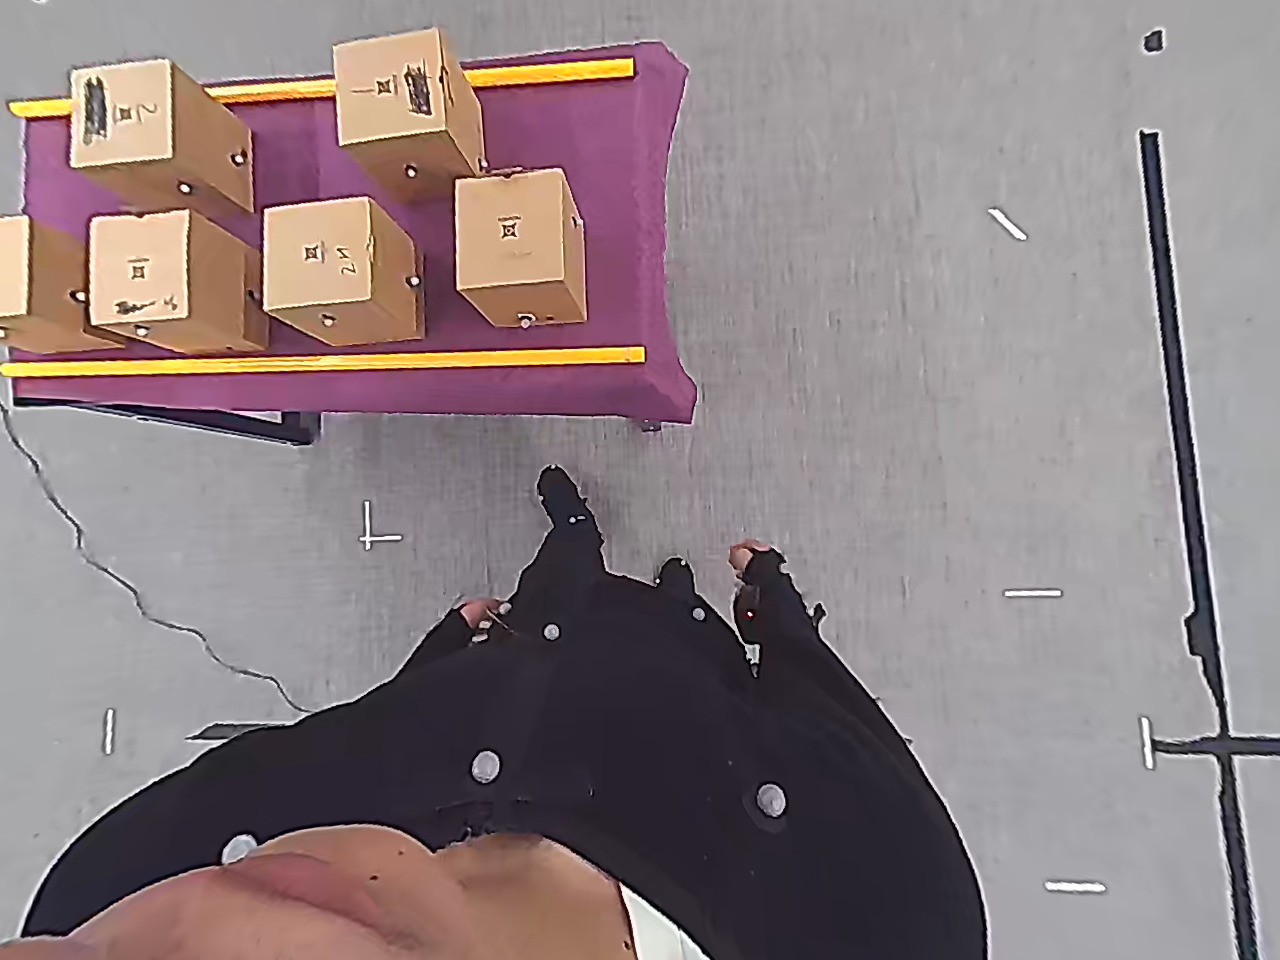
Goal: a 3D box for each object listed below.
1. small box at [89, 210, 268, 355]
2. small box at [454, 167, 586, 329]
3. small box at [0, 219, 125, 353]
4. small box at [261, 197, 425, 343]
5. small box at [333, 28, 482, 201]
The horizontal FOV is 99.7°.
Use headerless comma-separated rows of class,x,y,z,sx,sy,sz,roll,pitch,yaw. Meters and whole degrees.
small box,-0.766,-0.325,0.917,0.168,0.176,0.179,-2,86,6
small box,-0.185,-0.362,0.869,0.168,0.176,0.179,-3,84,6
small box,-1.045,-0.328,0.941,0.179,0.176,0.168,-3,86,4
small box,-0.481,-0.334,0.893,0.179,0.176,0.168,-3,85,5
small box,-0.374,-0.594,0.901,0.179,0.176,0.168,-5,87,6
